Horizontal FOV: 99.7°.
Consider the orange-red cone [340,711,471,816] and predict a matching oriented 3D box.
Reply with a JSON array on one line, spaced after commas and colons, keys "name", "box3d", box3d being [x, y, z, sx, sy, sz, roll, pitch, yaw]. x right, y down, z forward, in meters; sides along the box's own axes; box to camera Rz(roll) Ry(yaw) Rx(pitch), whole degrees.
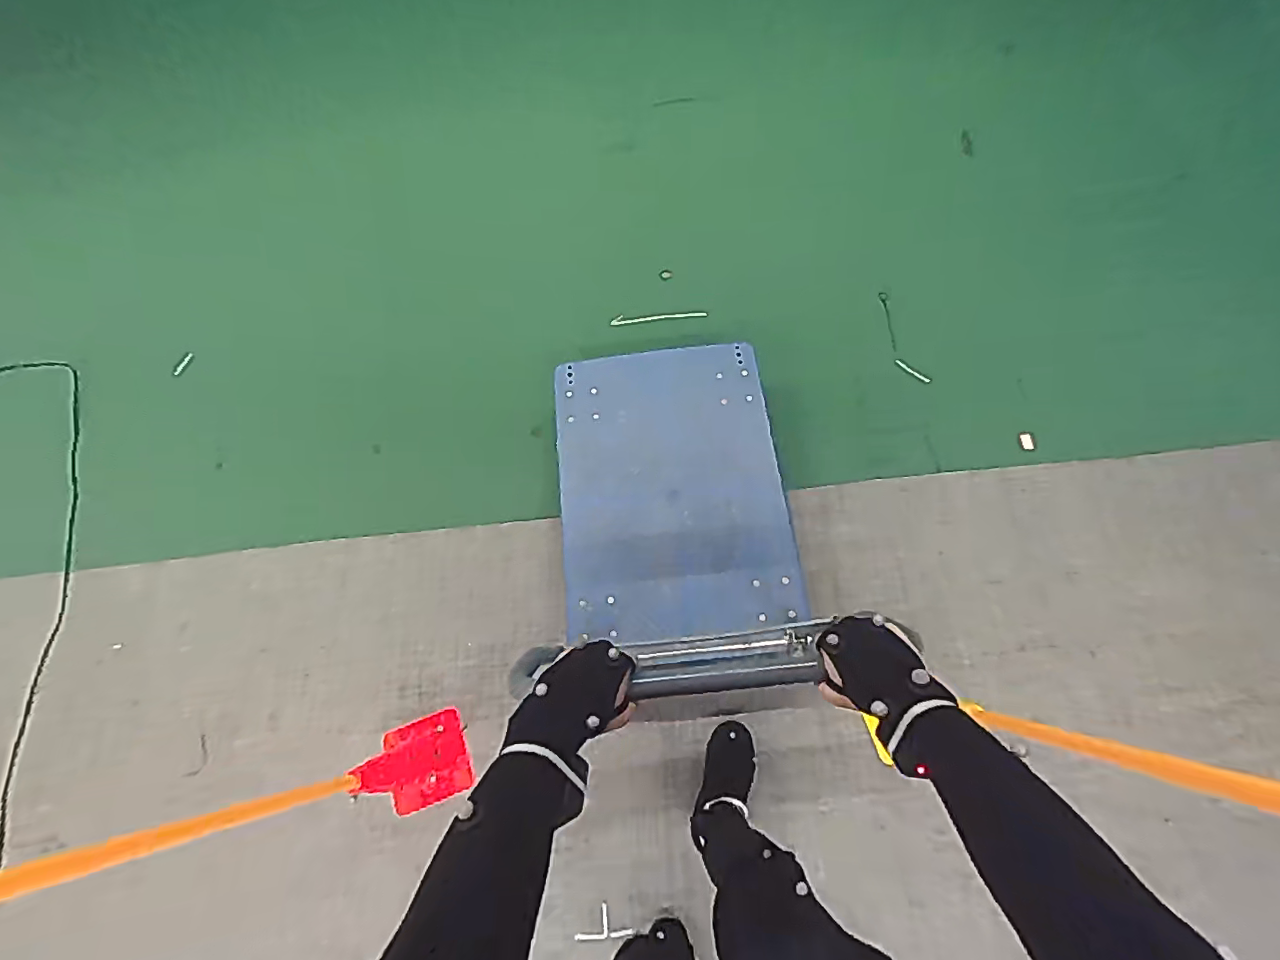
[{"name": "orange-red cone", "box3d": [-0.540, 0.640, 1.185, 0.199, 0.360, 0.198, -21, 68, -3]}]
